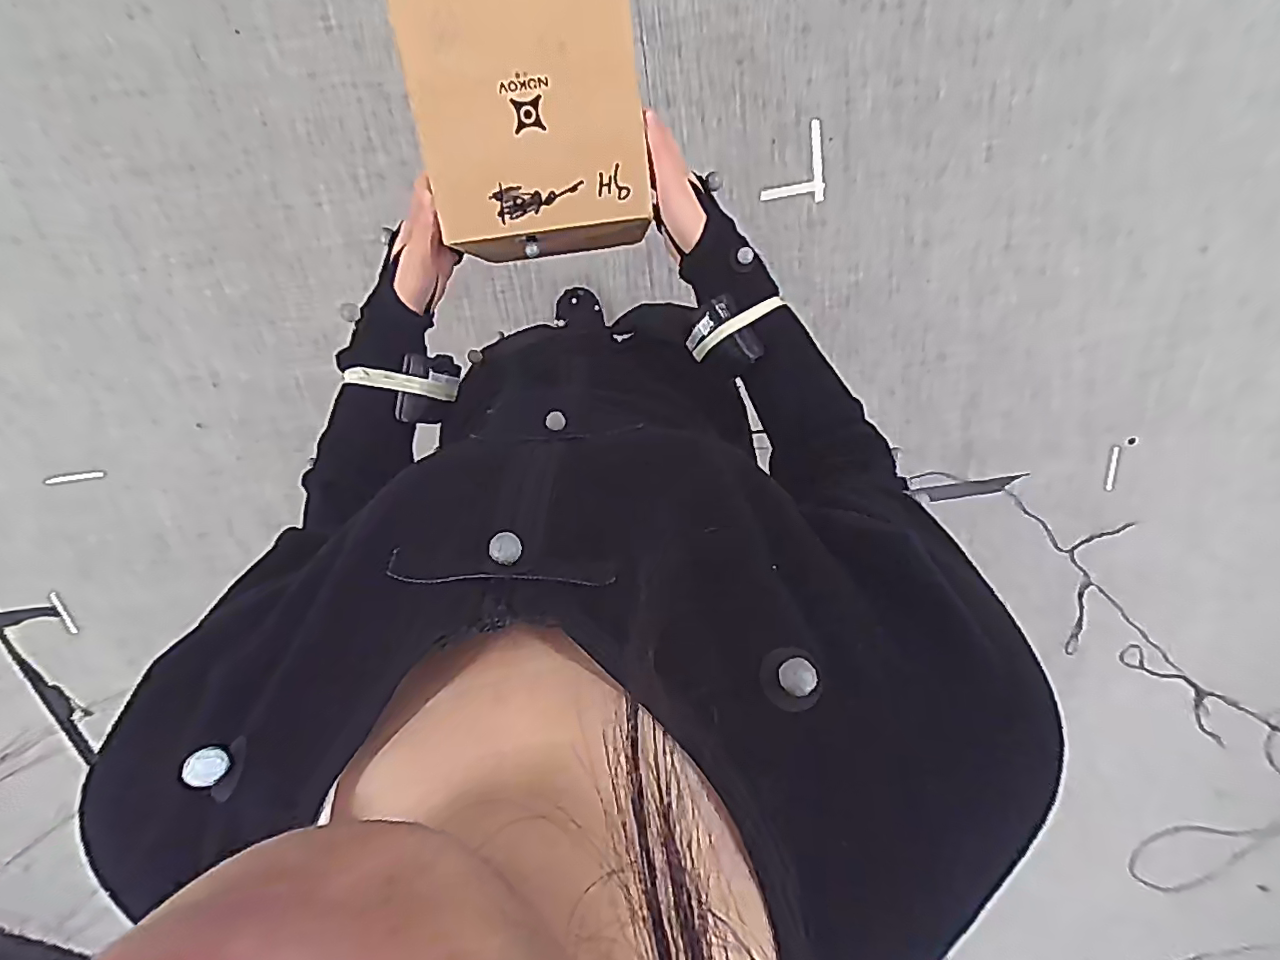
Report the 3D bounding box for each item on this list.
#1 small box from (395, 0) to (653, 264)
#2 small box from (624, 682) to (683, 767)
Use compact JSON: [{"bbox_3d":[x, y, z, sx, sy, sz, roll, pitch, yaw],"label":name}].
[{"bbox_3d":[-0.084,-0.295,0.466,0.168,0.176,0.179,-8,107,-1],"label":"small box"},{"bbox_3d":[0.042,0.788,1.753,0.168,0.176,0.179,-9,110,-1],"label":"small box"}]
